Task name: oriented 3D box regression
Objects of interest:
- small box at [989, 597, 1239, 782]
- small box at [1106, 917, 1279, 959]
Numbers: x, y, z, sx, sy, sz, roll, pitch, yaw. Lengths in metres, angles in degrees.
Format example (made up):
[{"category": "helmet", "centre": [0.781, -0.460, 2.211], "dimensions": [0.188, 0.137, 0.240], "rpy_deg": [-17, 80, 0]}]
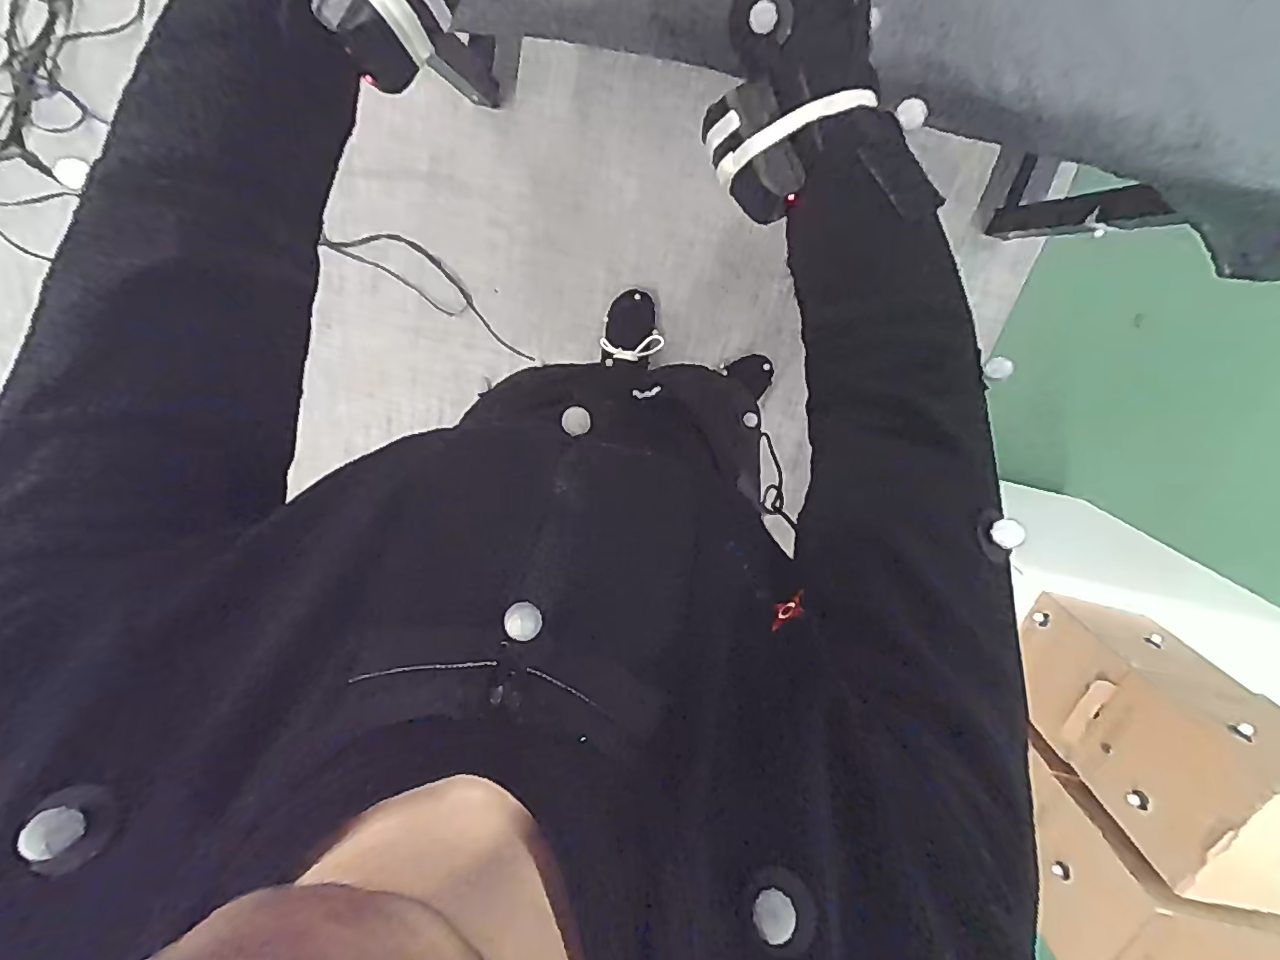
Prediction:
[{"category": "small box", "centre": [0.655, 0.291, 0.778], "dimensions": [0.179, 0.176, 0.168], "rpy_deg": [13, 112, -4]}, {"category": "small box", "centre": [0.609, 0.582, 0.539], "dimensions": [0.179, 0.176, 0.168], "rpy_deg": [12, 110, -4]}]
